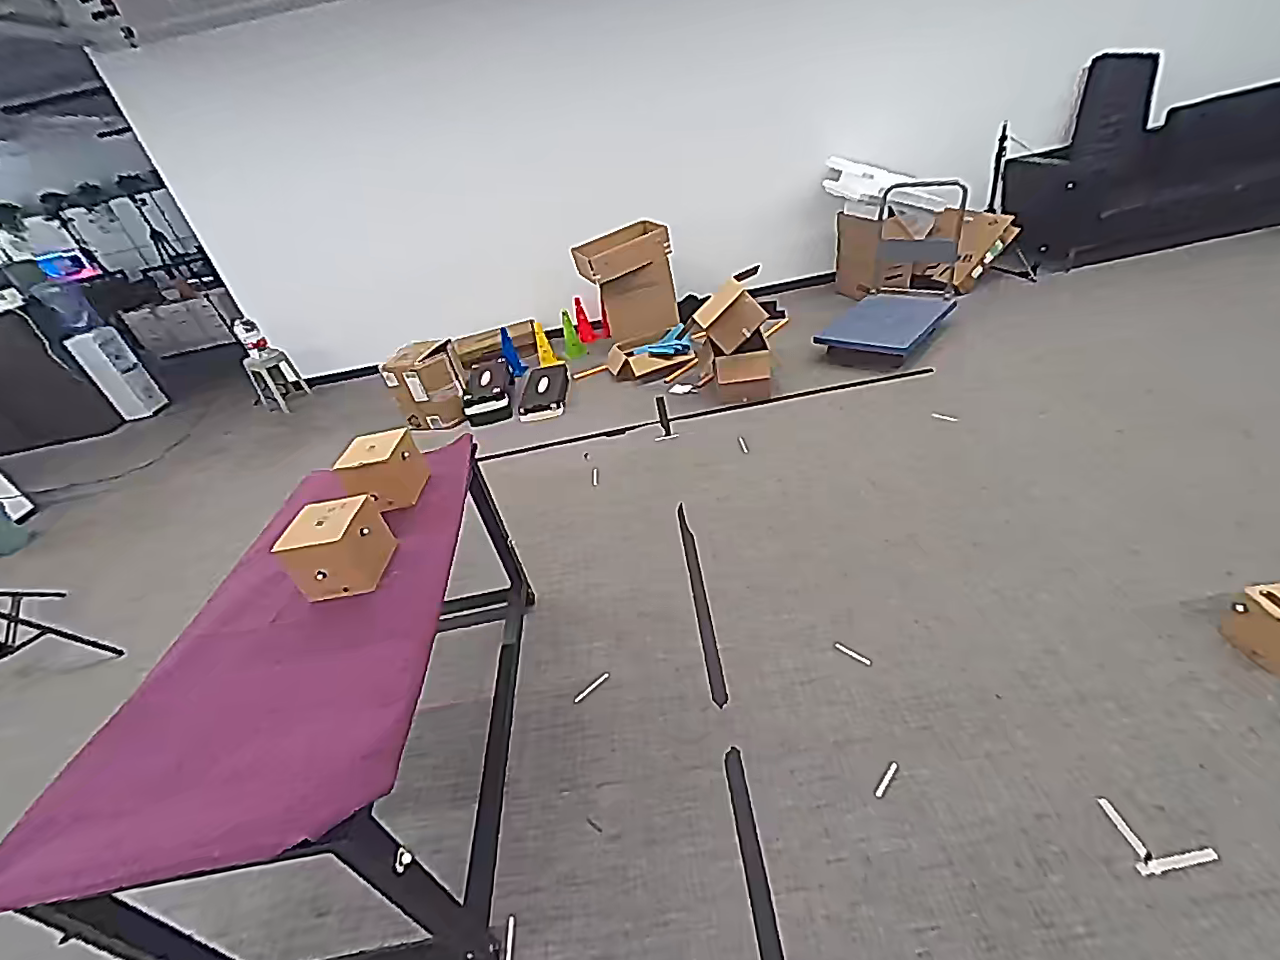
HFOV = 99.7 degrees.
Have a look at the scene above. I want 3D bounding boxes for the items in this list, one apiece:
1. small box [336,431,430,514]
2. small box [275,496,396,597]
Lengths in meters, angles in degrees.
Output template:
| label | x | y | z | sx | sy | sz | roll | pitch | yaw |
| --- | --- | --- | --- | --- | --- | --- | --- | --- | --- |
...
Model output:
| label | x | y | z | sx | sy | sz | roll | pitch | yaw |
| --- | --- | --- | --- | --- | --- | --- | --- | --- | --- |
| small box | -0.741 | -0.020 | 1.586 | 0.168 | 0.176 | 0.179 | -10 | 35 | 5 |
| small box | -0.720 | 0.167 | 1.307 | 0.168 | 0.176 | 0.179 | -9 | 34 | 4 |
